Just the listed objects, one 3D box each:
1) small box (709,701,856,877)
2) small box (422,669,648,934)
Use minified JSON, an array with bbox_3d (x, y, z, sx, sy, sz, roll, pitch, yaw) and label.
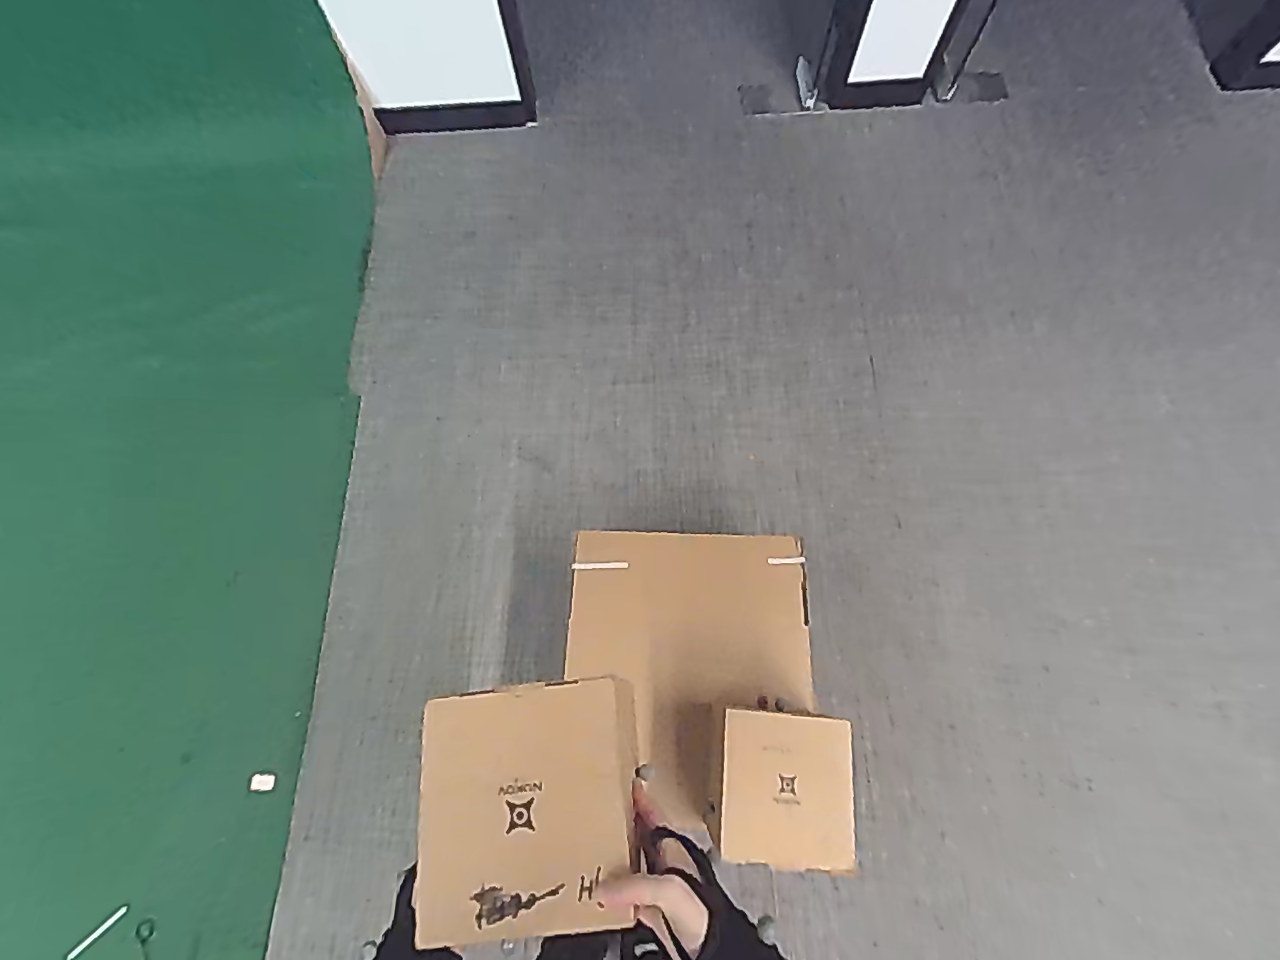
[{"bbox_3d":[0.188,0.412,0.752,0.168,0.176,0.179,5,70,3],"label":"small box"},{"bbox_3d":[-0.084,0.284,0.508,0.168,0.176,0.179,-7,66,2],"label":"small box"}]
